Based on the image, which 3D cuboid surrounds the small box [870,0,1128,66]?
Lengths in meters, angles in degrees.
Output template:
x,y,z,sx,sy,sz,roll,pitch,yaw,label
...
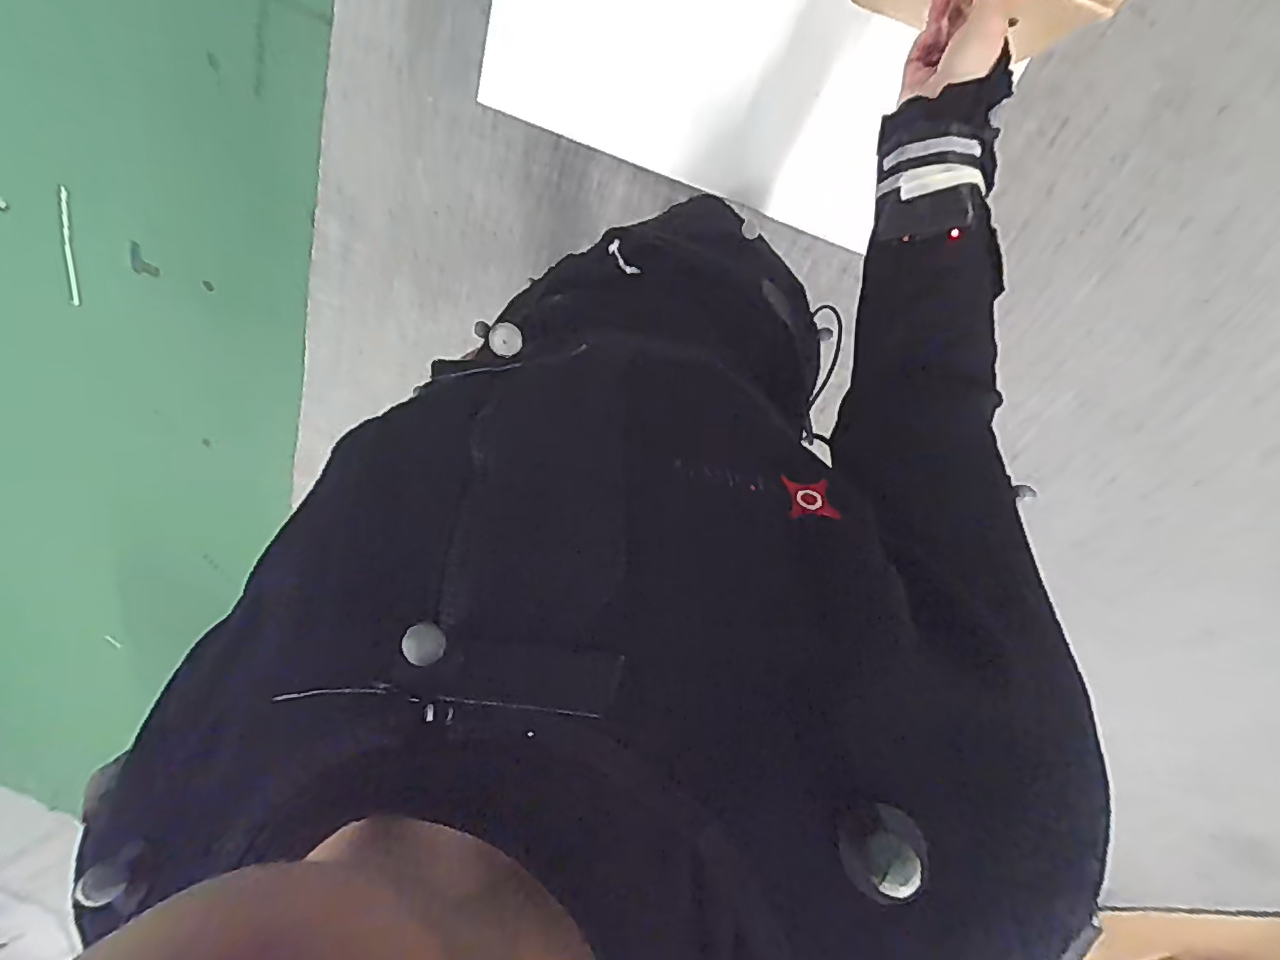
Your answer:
x,y,z,sx,sy,sz,roll,pitch,yaw,label
0.286,-0.442,0.393,0.168,0.176,0.179,21,118,-2,small box
